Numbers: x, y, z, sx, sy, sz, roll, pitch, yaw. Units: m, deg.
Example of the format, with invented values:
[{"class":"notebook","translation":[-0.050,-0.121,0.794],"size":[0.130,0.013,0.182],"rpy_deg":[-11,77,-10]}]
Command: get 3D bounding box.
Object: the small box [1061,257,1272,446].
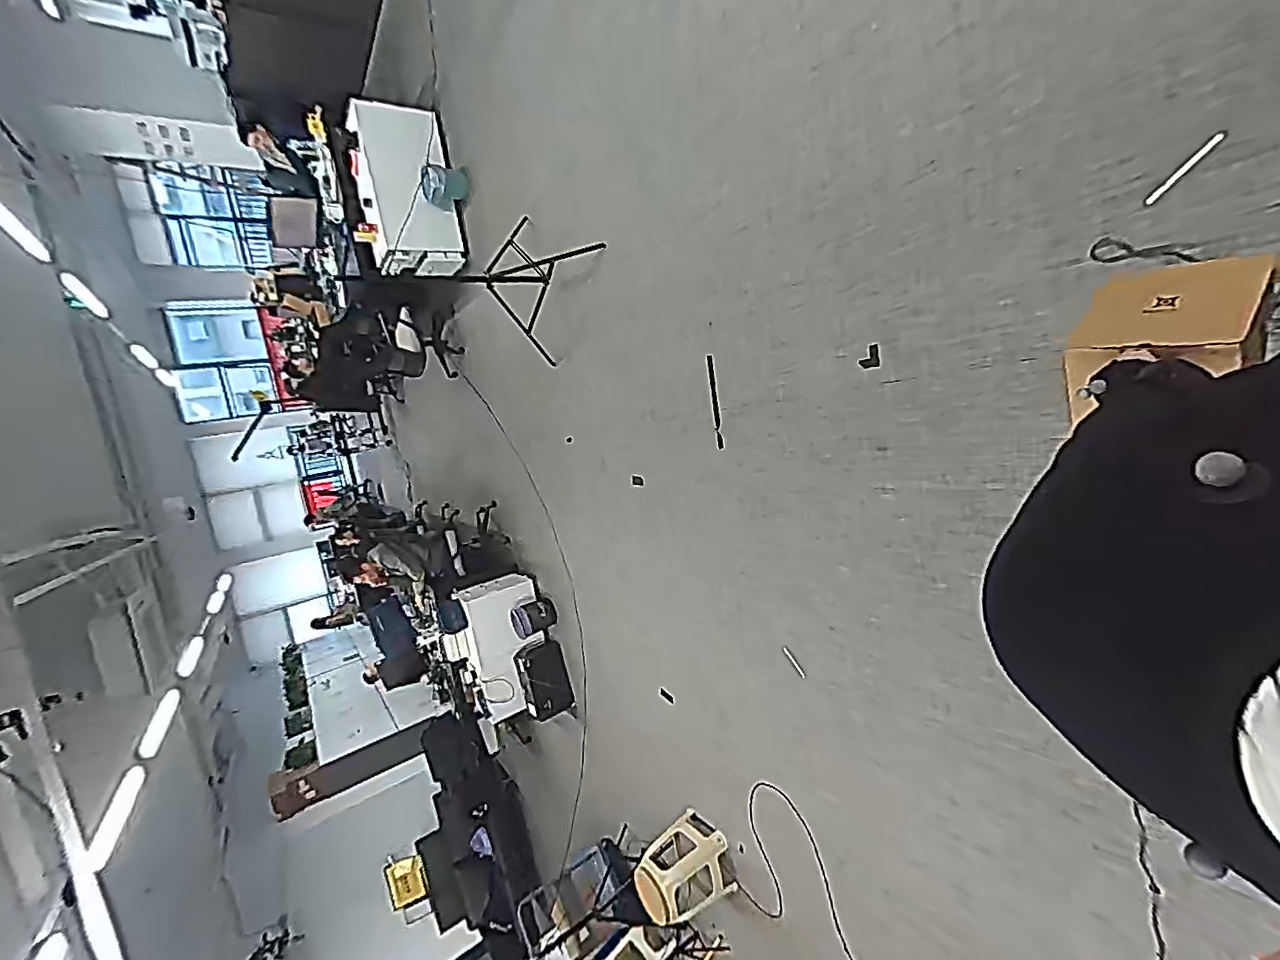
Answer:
[{"class":"small box","translation":[0.706,-0.166,0.732],"size":[0.168,0.179,0.176],"rpy_deg":[15,148,51]}]
